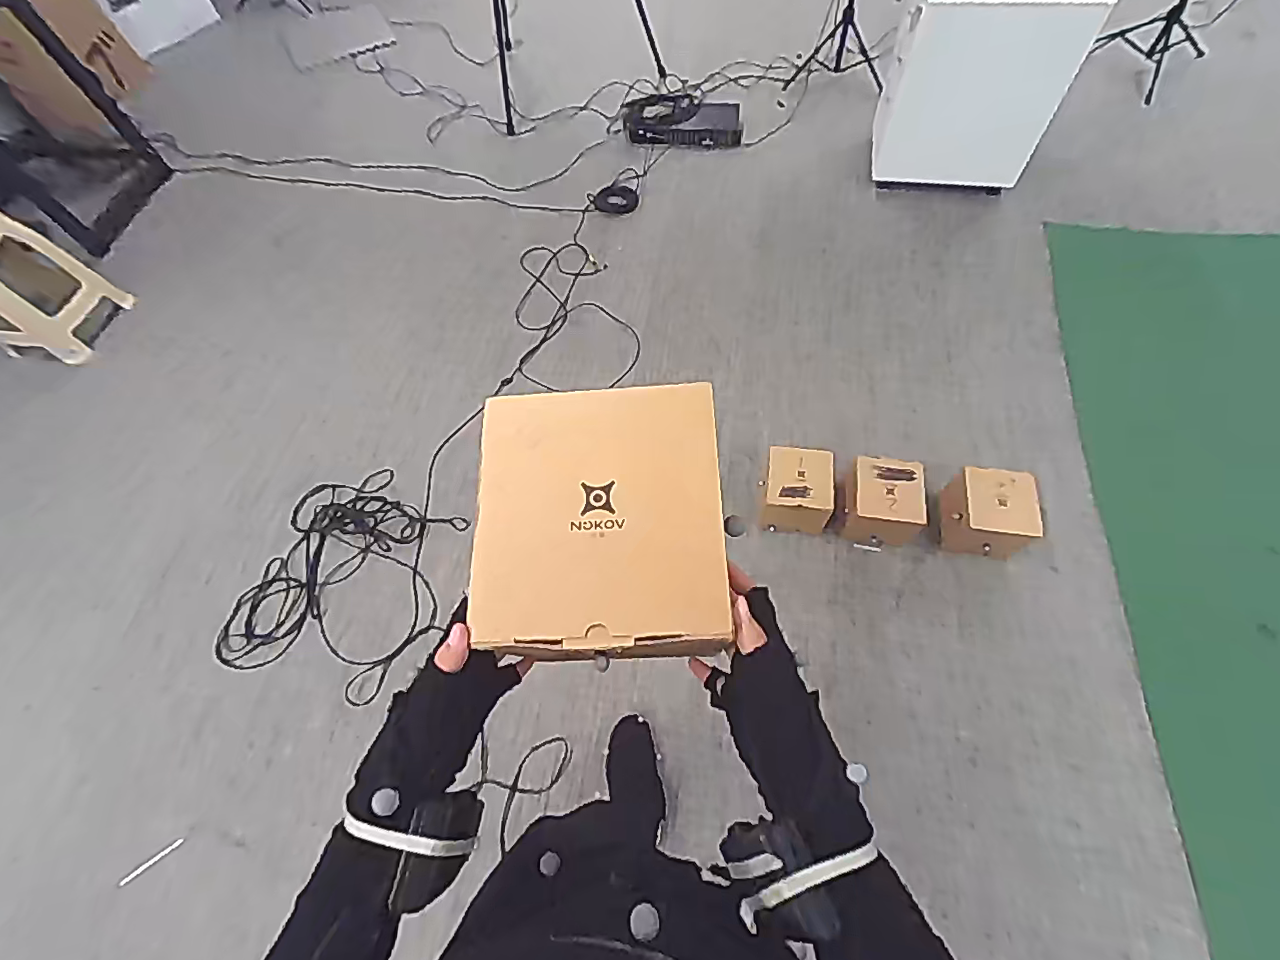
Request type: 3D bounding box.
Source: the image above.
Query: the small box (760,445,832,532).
[{"bbox_3d":[0.417,0.027,1.461,0.168,0.176,0.179,6,62,9],"label":"small box"}]

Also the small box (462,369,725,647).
[{"bbox_3d":[-0.026,0.034,0.434,0.168,0.176,0.179,-4,69,4],"label":"small box"}]

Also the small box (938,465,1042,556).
[{"bbox_3d":[0.890,0.083,1.392,0.168,0.176,0.179,7,63,8],"label":"small box"}]
